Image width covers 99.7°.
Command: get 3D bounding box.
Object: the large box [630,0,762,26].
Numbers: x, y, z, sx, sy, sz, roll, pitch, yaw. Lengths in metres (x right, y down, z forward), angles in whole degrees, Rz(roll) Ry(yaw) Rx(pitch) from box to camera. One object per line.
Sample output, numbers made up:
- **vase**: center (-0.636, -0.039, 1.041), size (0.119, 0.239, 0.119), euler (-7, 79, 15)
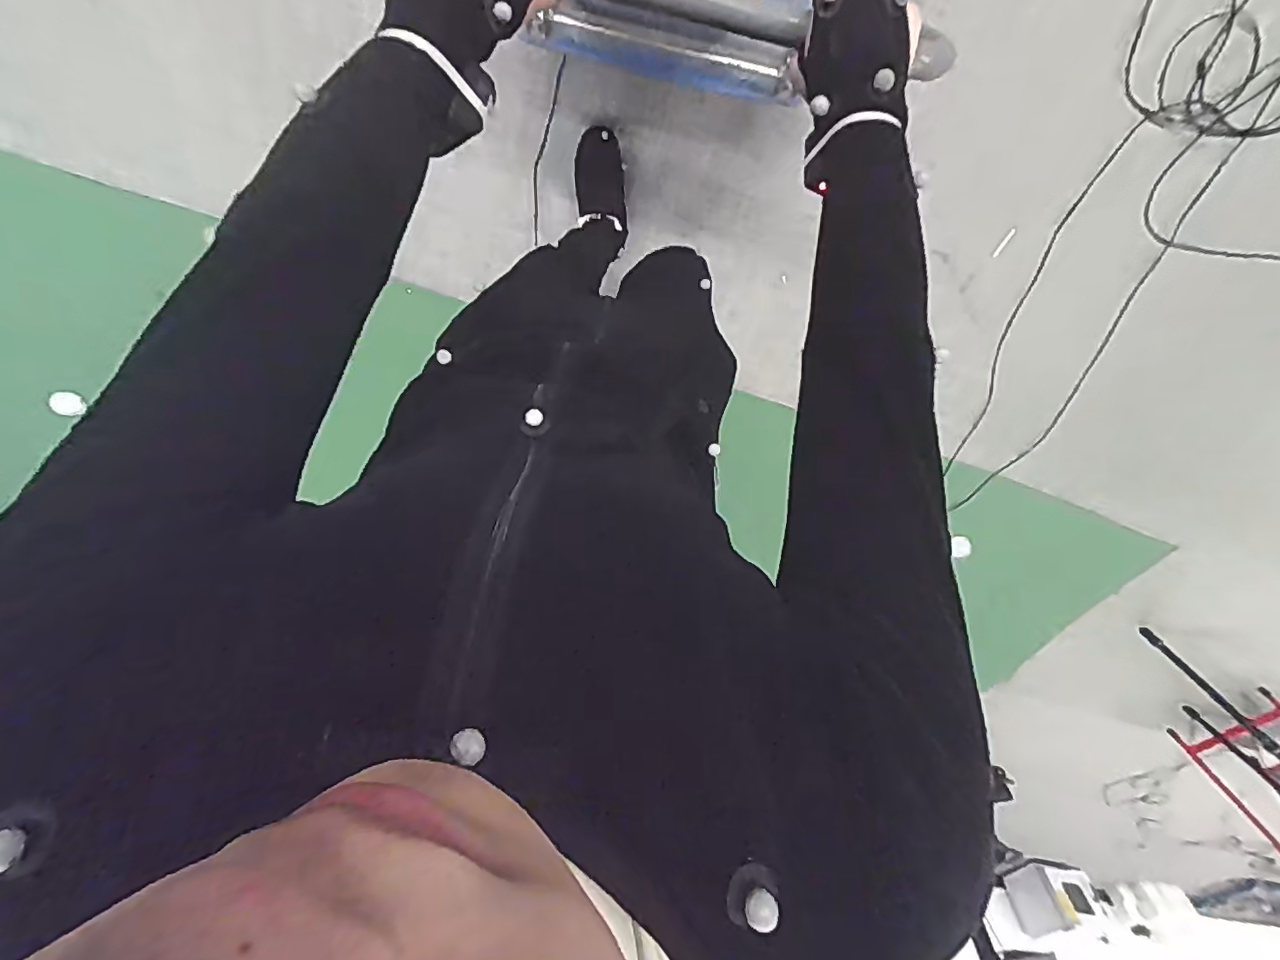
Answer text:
- **large box**: center (0.065, -0.939, 0.757), size (0.320, 0.320, 0.408), euler (10, 124, -7)
